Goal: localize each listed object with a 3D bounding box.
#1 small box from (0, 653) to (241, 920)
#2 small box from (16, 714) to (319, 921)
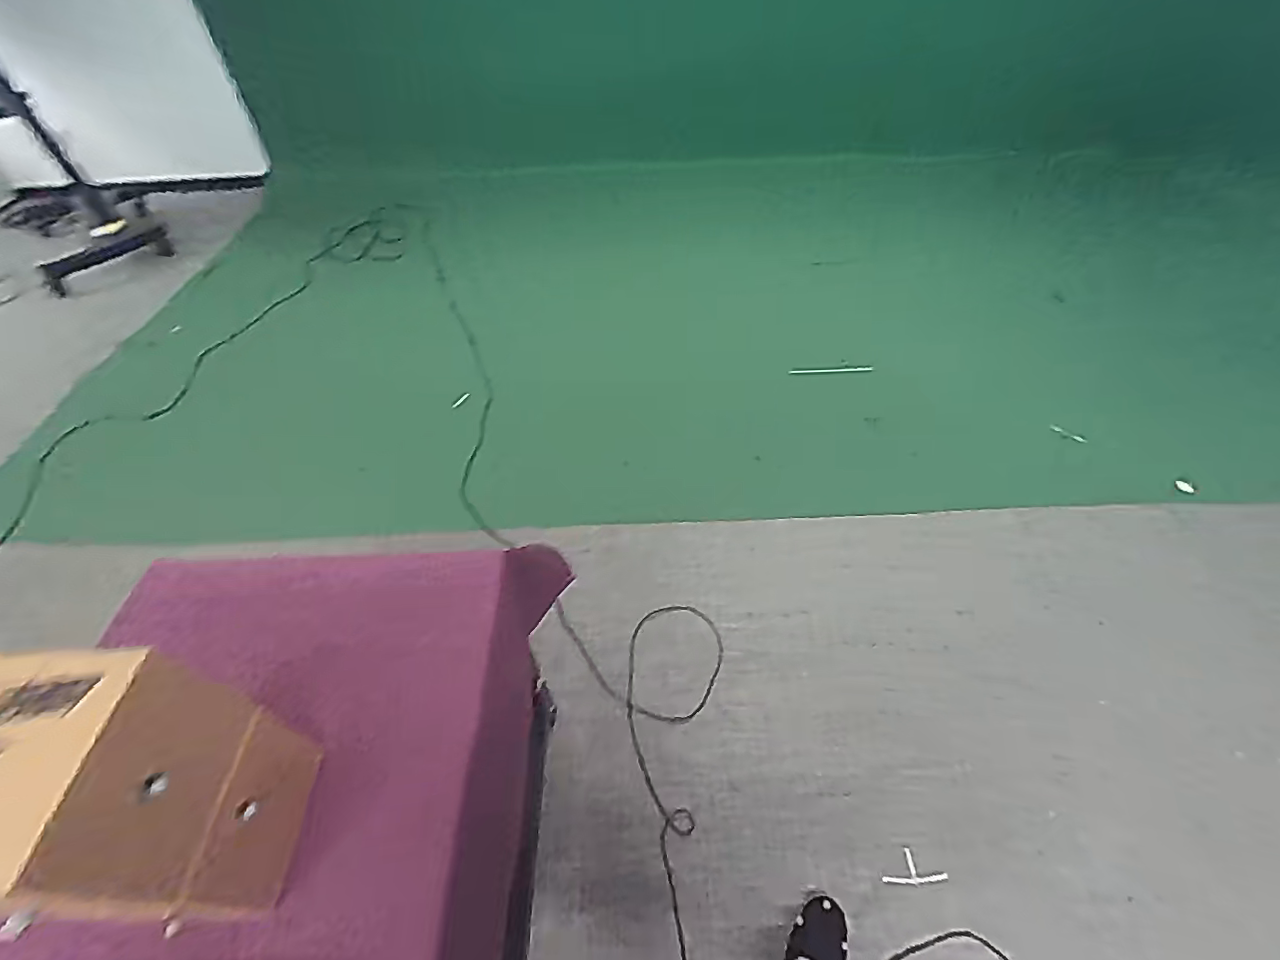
[{"bbox_3d":[-0.506,0.273,0.481,0.168,0.176,0.179,-3,50,0],"label":"small box"},{"bbox_3d":[-0.499,0.380,0.605,0.168,0.176,0.179,-2,49,0],"label":"small box"}]
